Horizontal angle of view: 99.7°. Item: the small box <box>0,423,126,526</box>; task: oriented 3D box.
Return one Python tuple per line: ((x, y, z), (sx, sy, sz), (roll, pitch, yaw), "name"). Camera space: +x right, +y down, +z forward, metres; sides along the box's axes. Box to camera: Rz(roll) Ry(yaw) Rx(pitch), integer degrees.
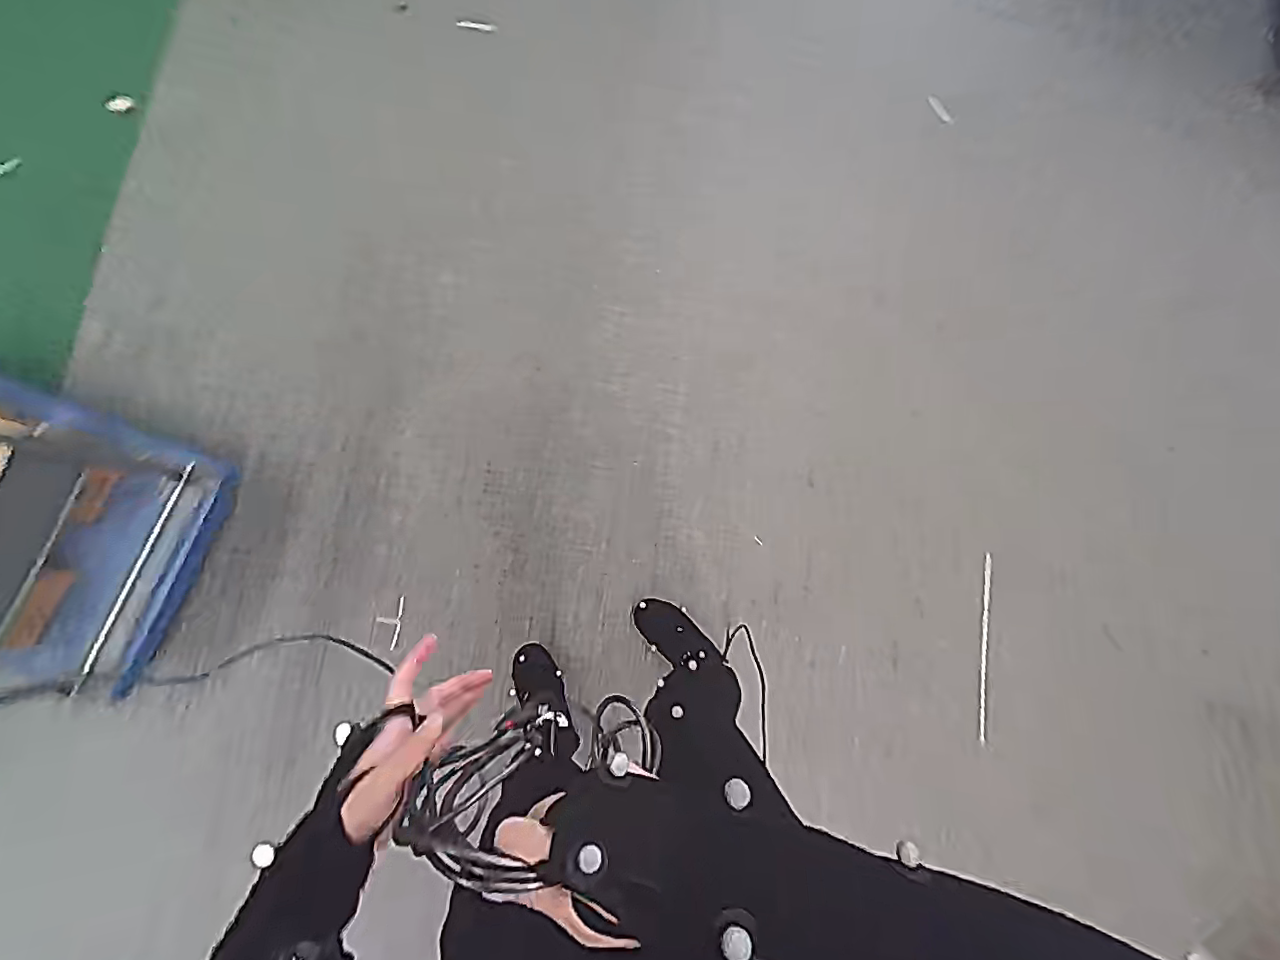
((-1.288, -0.006, 1.158), (0.179, 0.176, 0.168), (22, 82, 1), "small box")
